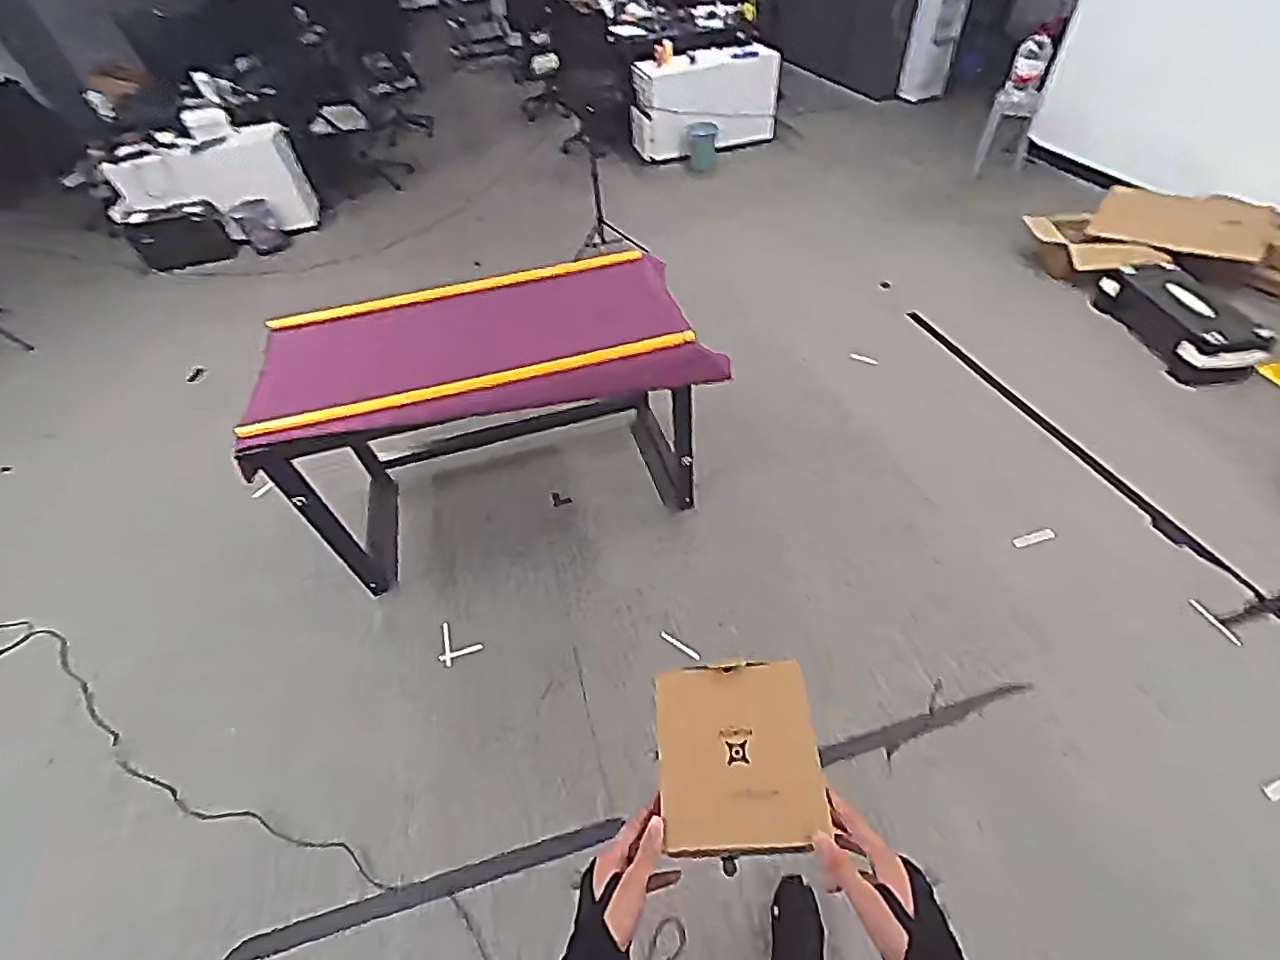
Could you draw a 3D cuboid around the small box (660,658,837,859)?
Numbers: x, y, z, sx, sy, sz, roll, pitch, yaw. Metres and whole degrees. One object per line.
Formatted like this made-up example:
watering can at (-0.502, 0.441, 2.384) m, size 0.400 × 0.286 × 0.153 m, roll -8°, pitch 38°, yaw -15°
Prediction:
small box at (0.111, 0.324, 0.625) m, size 0.168 × 0.176 × 0.179 m, roll -5°, pitch 51°, yaw 4°
